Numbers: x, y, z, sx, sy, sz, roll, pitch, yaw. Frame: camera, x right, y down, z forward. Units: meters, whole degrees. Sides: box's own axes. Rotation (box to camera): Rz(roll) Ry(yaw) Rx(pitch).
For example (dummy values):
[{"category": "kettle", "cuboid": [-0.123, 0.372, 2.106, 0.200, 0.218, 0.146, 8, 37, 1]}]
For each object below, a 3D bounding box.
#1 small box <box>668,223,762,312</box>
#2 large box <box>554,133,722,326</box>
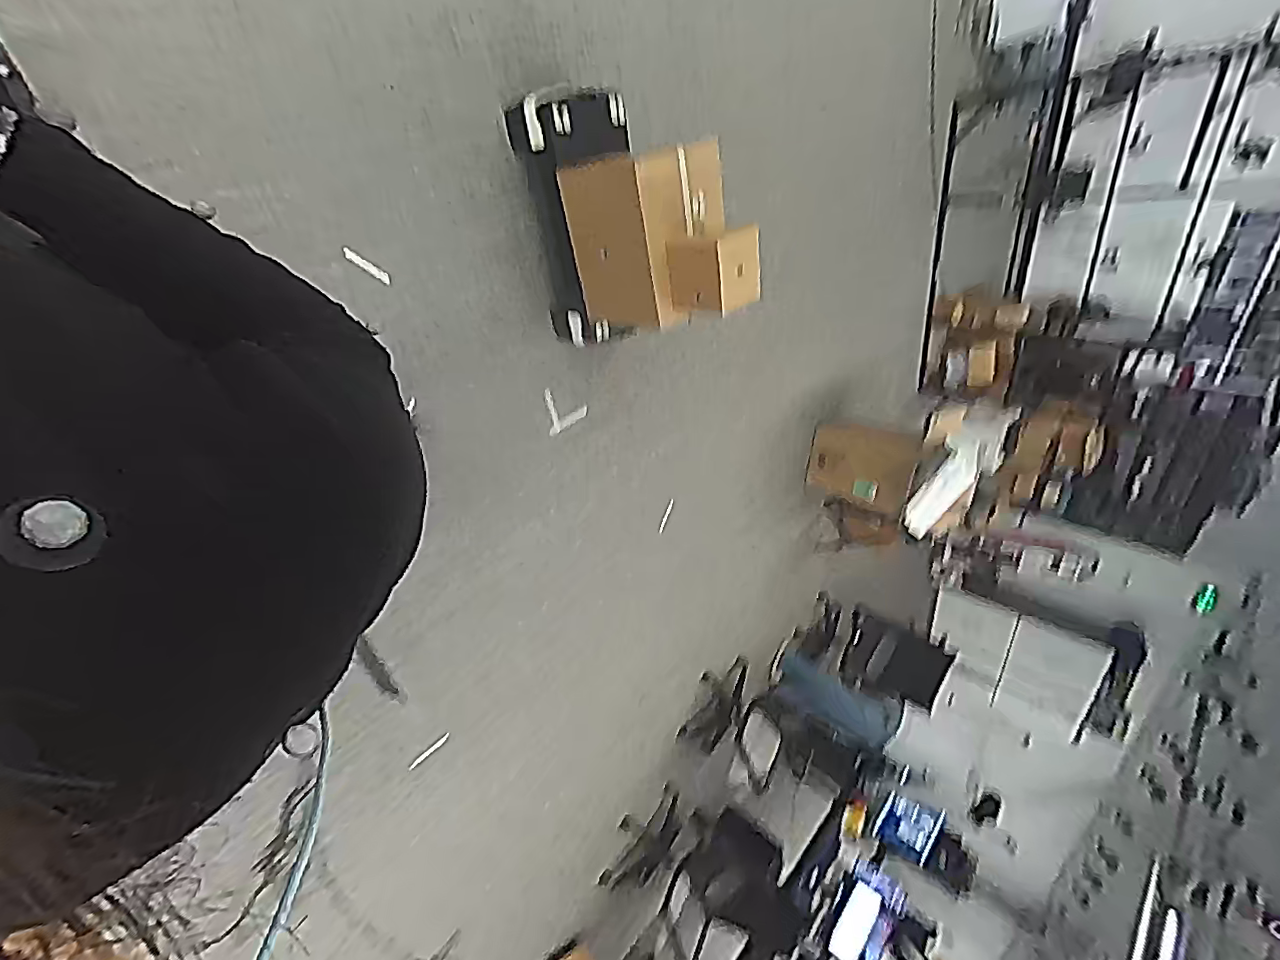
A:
[{"category": "small box", "cuboid": [0.192, -0.547, 1.382, 0.168, 0.176, 0.179, -34, 128, -32]}, {"category": "large box", "cuboid": [0.014, -0.686, 1.507, 0.320, 0.320, 0.408, -37, 129, -32]}]
